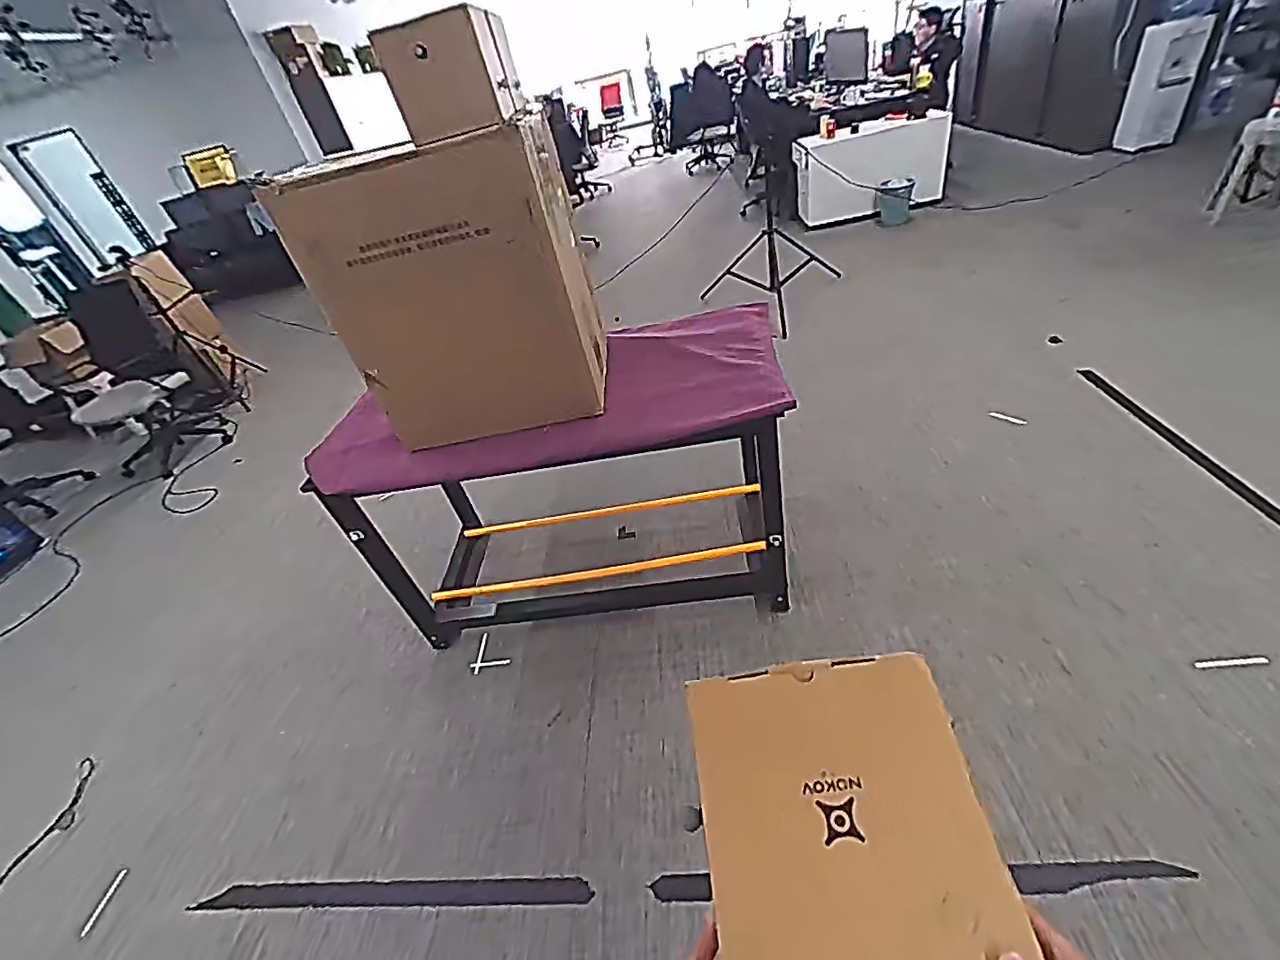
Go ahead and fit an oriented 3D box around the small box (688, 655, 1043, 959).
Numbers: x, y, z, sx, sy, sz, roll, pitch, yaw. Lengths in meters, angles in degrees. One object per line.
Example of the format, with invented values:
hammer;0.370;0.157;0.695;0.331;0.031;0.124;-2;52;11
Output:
small box;0.134;0.249;0.389;0.168;0.176;0.179;-10;52;4

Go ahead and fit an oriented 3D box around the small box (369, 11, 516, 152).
small box;-0.348;-0.721;0.989;0.179;0.176;0.168;-12;38;5
